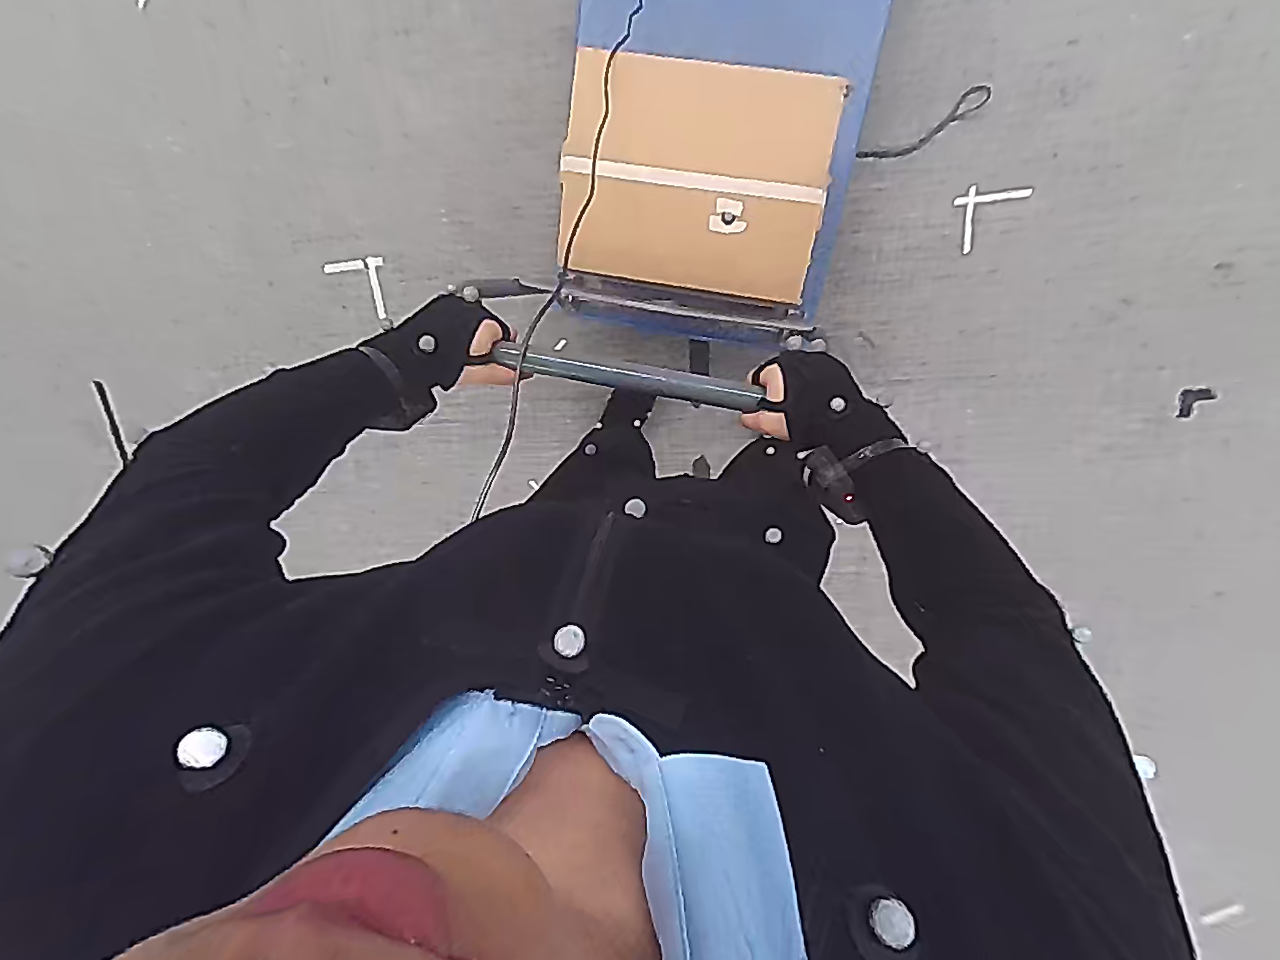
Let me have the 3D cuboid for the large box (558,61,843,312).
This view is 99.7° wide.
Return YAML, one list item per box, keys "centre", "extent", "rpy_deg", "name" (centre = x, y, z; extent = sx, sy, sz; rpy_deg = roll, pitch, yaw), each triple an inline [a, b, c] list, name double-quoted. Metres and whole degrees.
- centre: [0.095, -0.492, 0.979]
  extent: [0.408, 0.320, 0.320]
  rpy_deg: [11, 109, 4]
  name: "large box"
